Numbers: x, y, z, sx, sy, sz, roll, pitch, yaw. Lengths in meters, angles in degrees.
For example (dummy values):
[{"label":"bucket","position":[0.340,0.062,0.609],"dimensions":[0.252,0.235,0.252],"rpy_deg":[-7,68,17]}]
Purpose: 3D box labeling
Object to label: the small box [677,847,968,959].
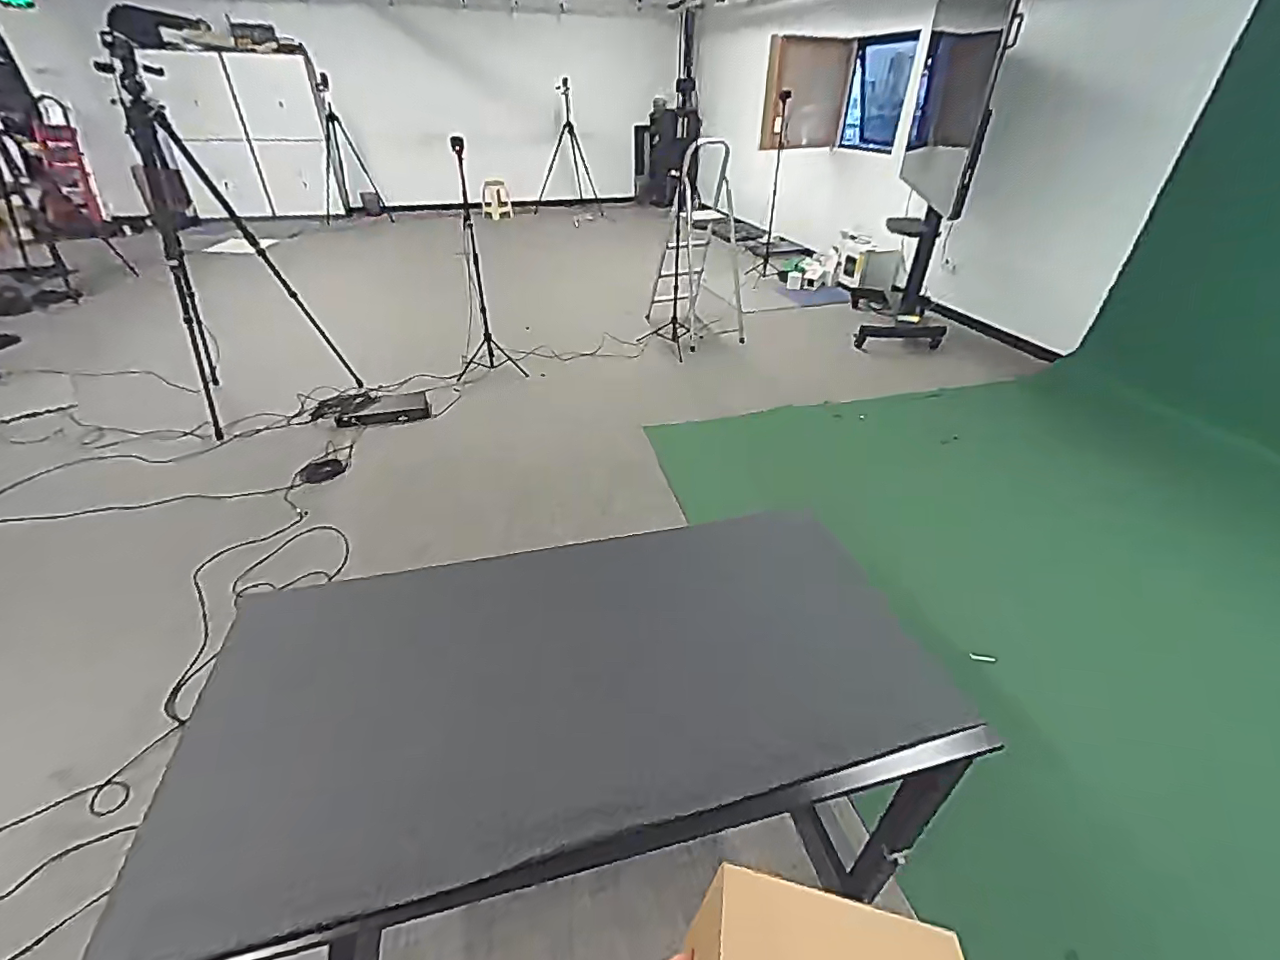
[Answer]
[{"label":"small box","position":[0.104,0.384,0.336],"dimensions":[0.168,0.176,0.179],"rpy_deg":[13,29,6]}]
